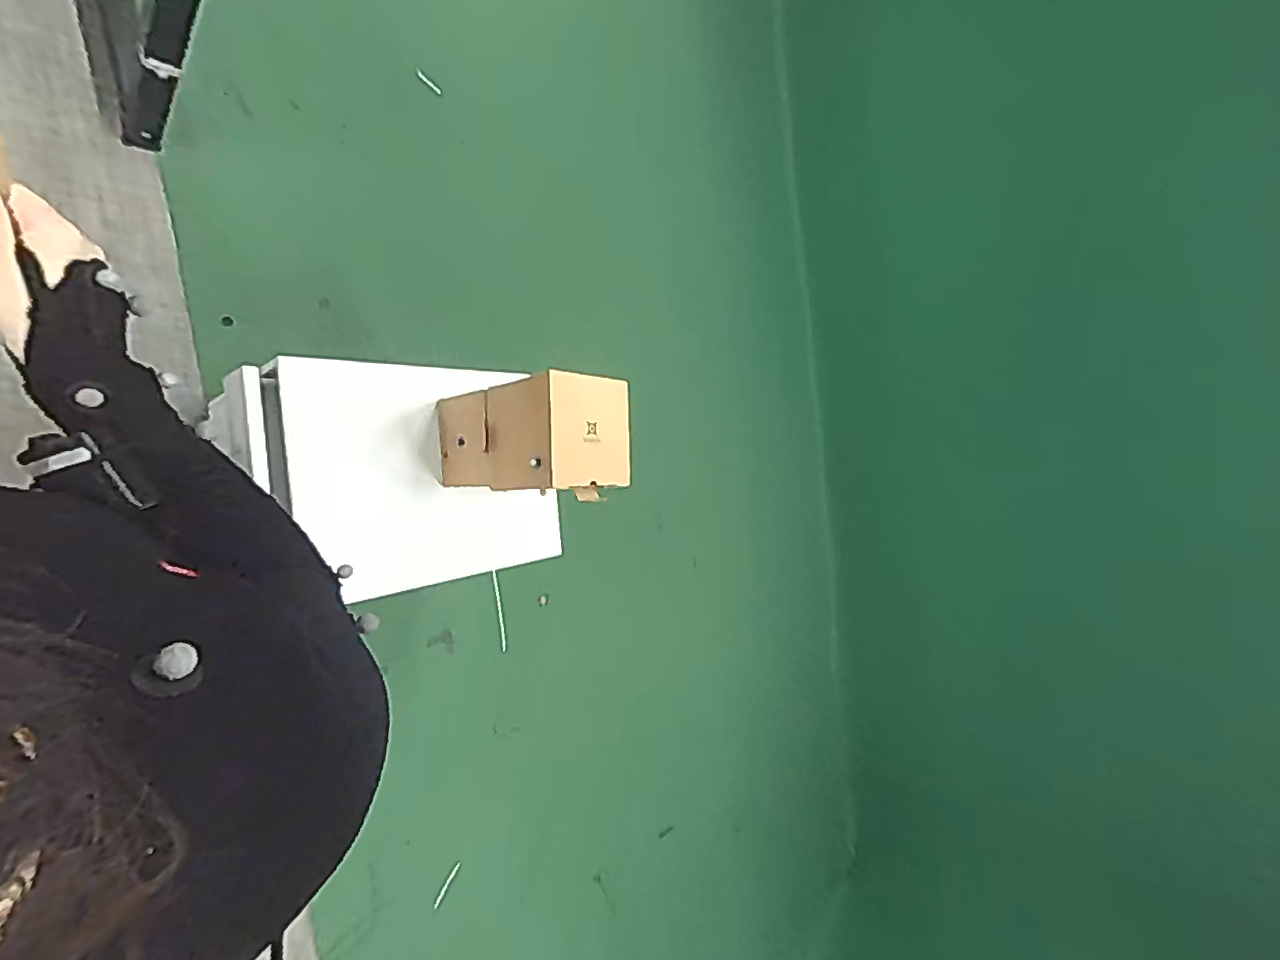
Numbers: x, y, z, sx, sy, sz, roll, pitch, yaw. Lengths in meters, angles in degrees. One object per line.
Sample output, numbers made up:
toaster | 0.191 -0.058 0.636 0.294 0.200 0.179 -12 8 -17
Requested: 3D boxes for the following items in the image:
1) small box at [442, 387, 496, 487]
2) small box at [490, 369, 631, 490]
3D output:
small box | -0.250 -0.074 0.997 0.179 0.176 0.168 -5 93 -47
small box | -0.132 -0.073 0.885 0.168 0.176 0.179 -2 91 -47
